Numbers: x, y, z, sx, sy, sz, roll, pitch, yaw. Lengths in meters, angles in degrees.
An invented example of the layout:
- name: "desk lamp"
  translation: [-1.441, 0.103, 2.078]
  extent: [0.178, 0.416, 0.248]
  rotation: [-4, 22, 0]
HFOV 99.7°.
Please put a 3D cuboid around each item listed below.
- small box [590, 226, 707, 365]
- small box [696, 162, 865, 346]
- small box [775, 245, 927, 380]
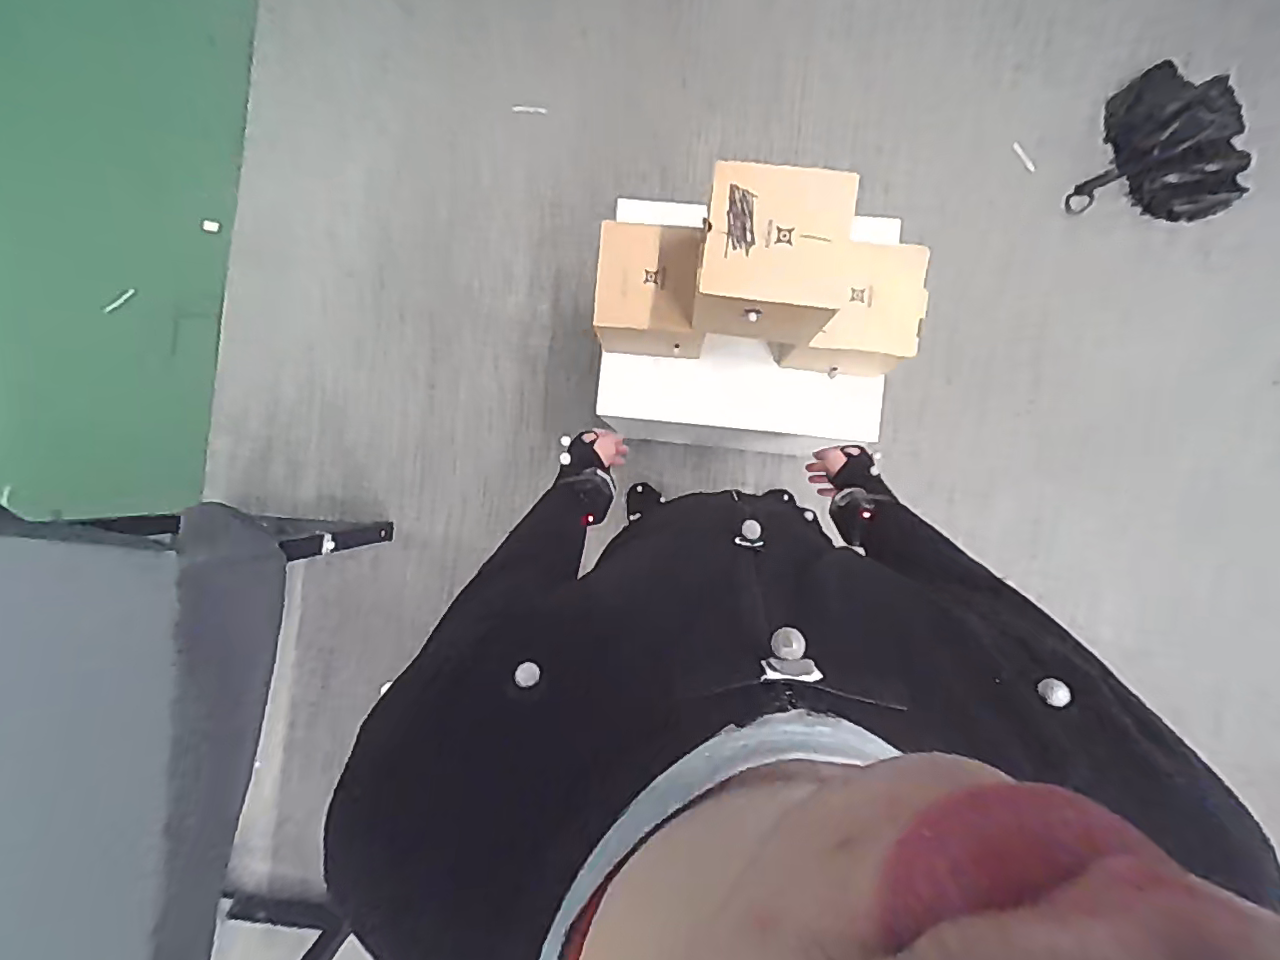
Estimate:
- name: "small box"
  translation: [0.018, -0.289, 0.881]
  extent: [0.179, 0.176, 0.168]
  rotation: [3, 88, 1]
- name: "small box"
  translation: [0.171, -0.285, 0.714]
  extent: [0.179, 0.176, 0.168]
  rotation: [7, 89, 1]
- name: "small box"
  translation: [0.330, -0.262, 0.875]
  extent: [0.179, 0.176, 0.168]
  rotation: [6, 89, 2]
